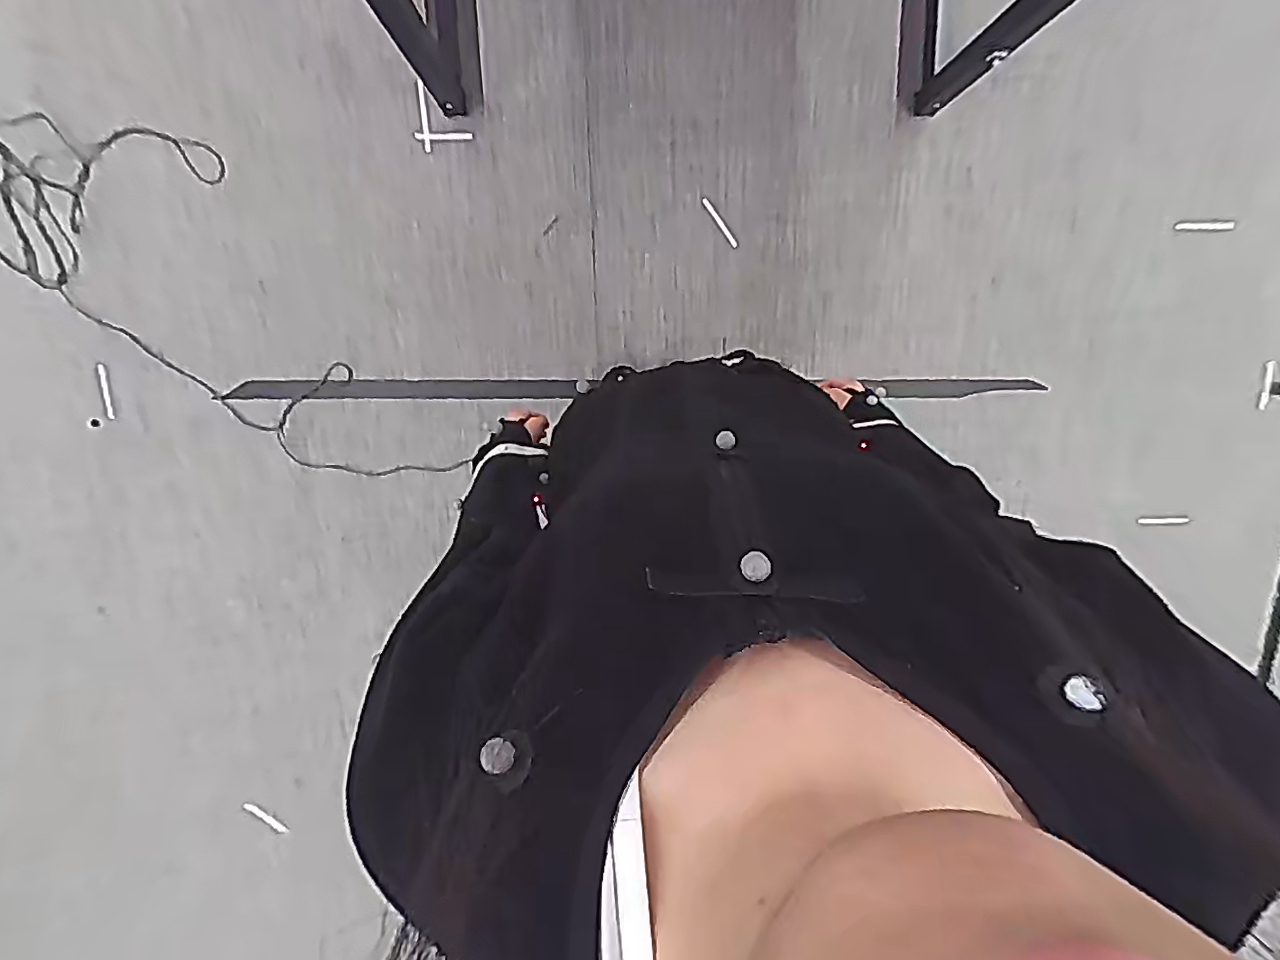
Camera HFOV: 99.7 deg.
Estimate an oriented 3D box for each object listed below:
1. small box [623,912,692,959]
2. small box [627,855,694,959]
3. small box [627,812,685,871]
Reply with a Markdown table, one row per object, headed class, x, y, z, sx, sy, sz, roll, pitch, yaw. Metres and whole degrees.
| class | x | y | z | sx | sy | sz | roll | pitch | yaw |
| --- | --- | --- | --- | --- | --- | --- | --- | --- | --- |
| small box | 0.049 | 1.225 | 1.339 | 0.168 | 0.176 | 0.179 | -6 | 102 | 0 |
| small box | 0.054 | 1.191 | 1.500 | 0.168 | 0.176 | 0.179 | -7 | 103 | -1 |
| small box | 0.047 | 1.153 | 1.660 | 0.168 | 0.176 | 0.179 | -5 | 102 | -1 |
